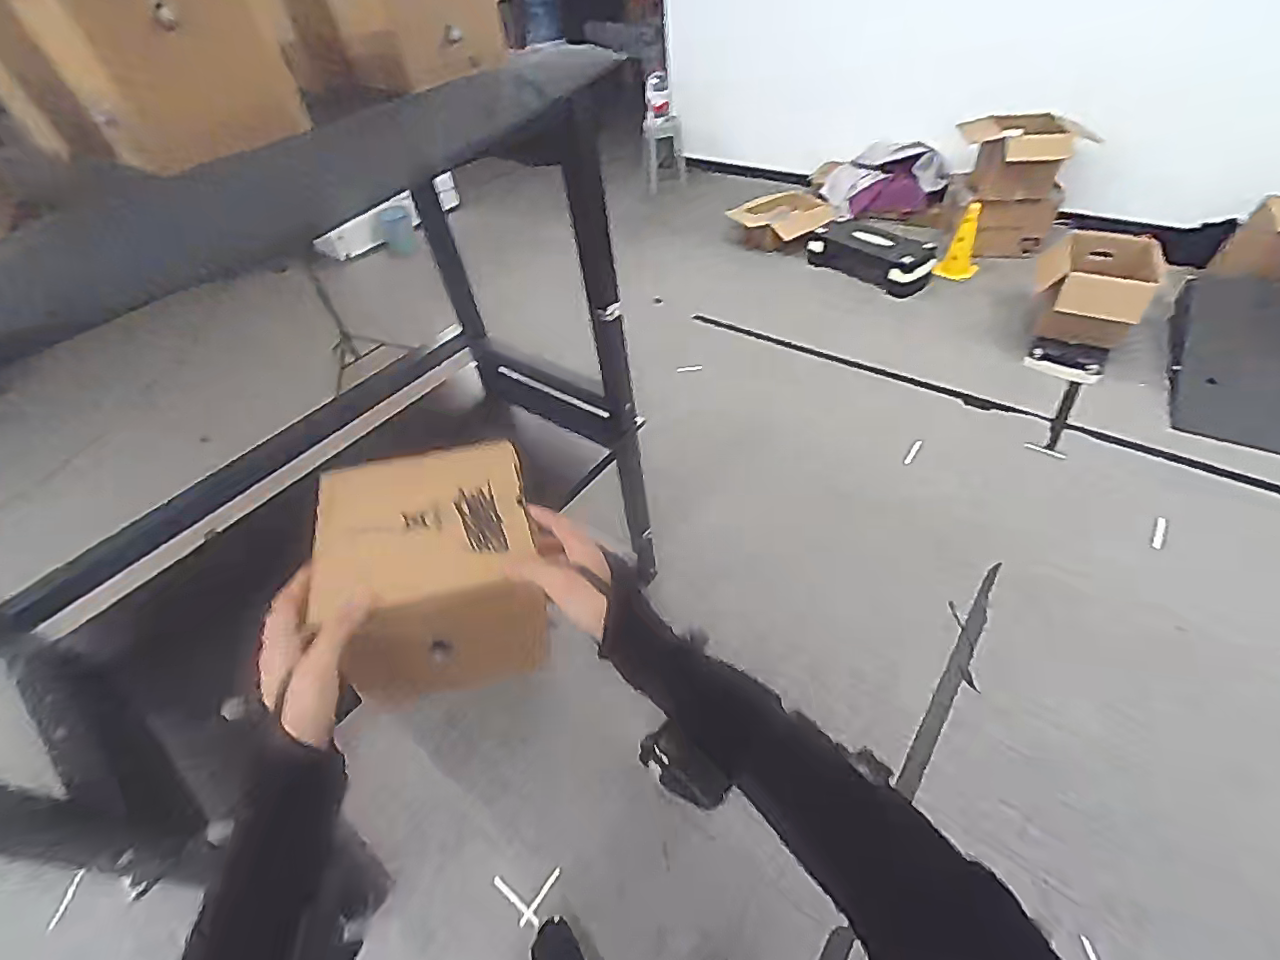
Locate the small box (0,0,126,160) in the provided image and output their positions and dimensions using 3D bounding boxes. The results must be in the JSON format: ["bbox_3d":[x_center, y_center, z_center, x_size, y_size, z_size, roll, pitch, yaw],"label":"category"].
[{"bbox_3d":[-0.746,-0.546,0.718,0.179,0.176,0.168,27,57,28],"label":"small box"}]

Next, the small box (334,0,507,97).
[{"bbox_3d":[-0.321,-0.669,0.773,0.179,0.176,0.168,34,60,32],"label":"small box"}]

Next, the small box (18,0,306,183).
[{"bbox_3d":[-0.526,-0.468,0.620,0.168,0.176,0.179,27,57,28],"label":"small box"}]
